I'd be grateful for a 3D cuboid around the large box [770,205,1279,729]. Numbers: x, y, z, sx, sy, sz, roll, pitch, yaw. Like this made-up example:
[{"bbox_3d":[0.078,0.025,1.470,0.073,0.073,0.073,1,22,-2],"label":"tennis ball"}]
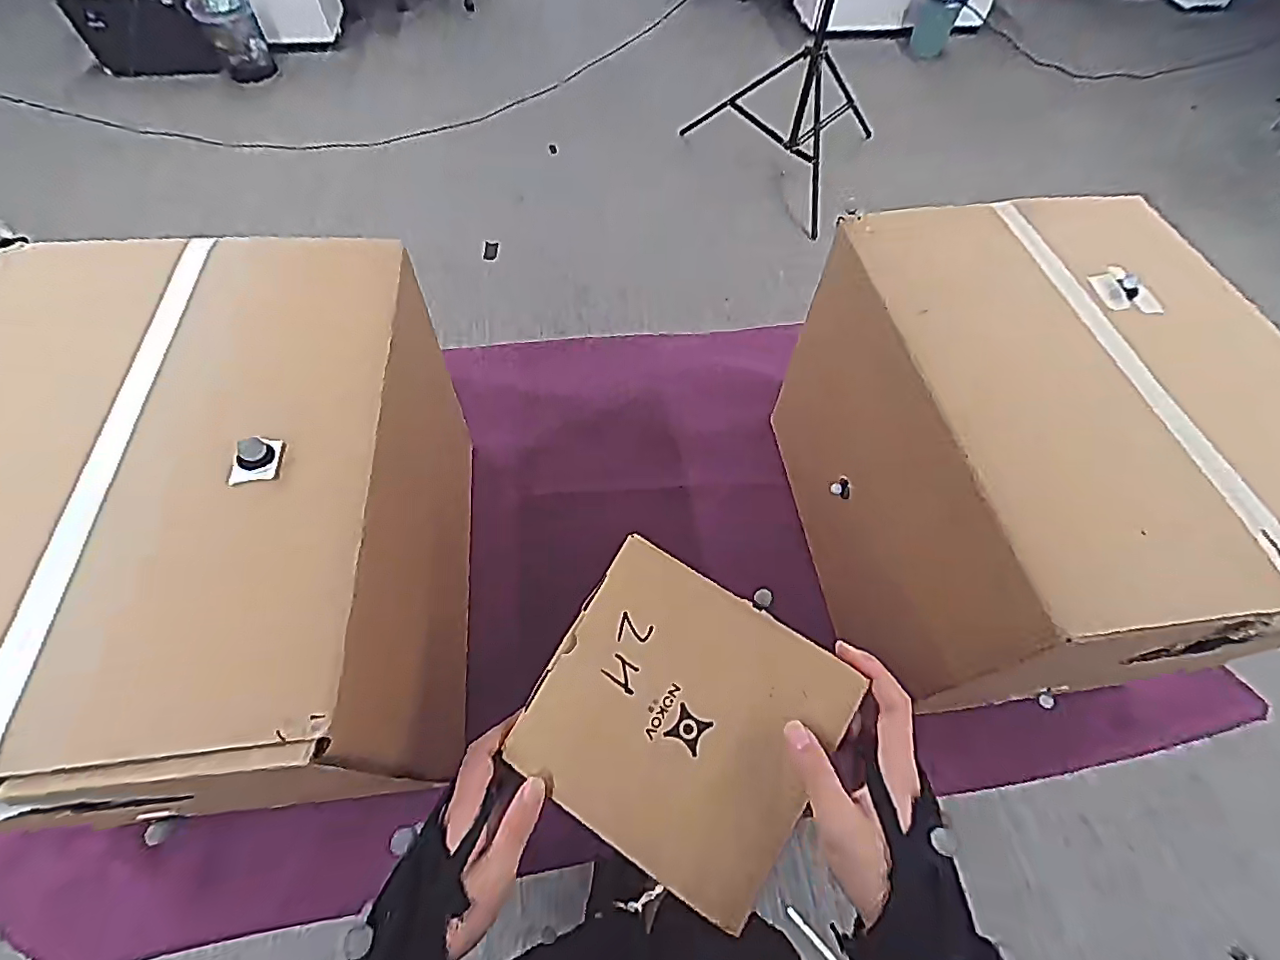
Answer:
[{"bbox_3d":[0.357,-0.009,0.542,0.320,0.320,0.408,-5,57,-6],"label":"large box"}]
